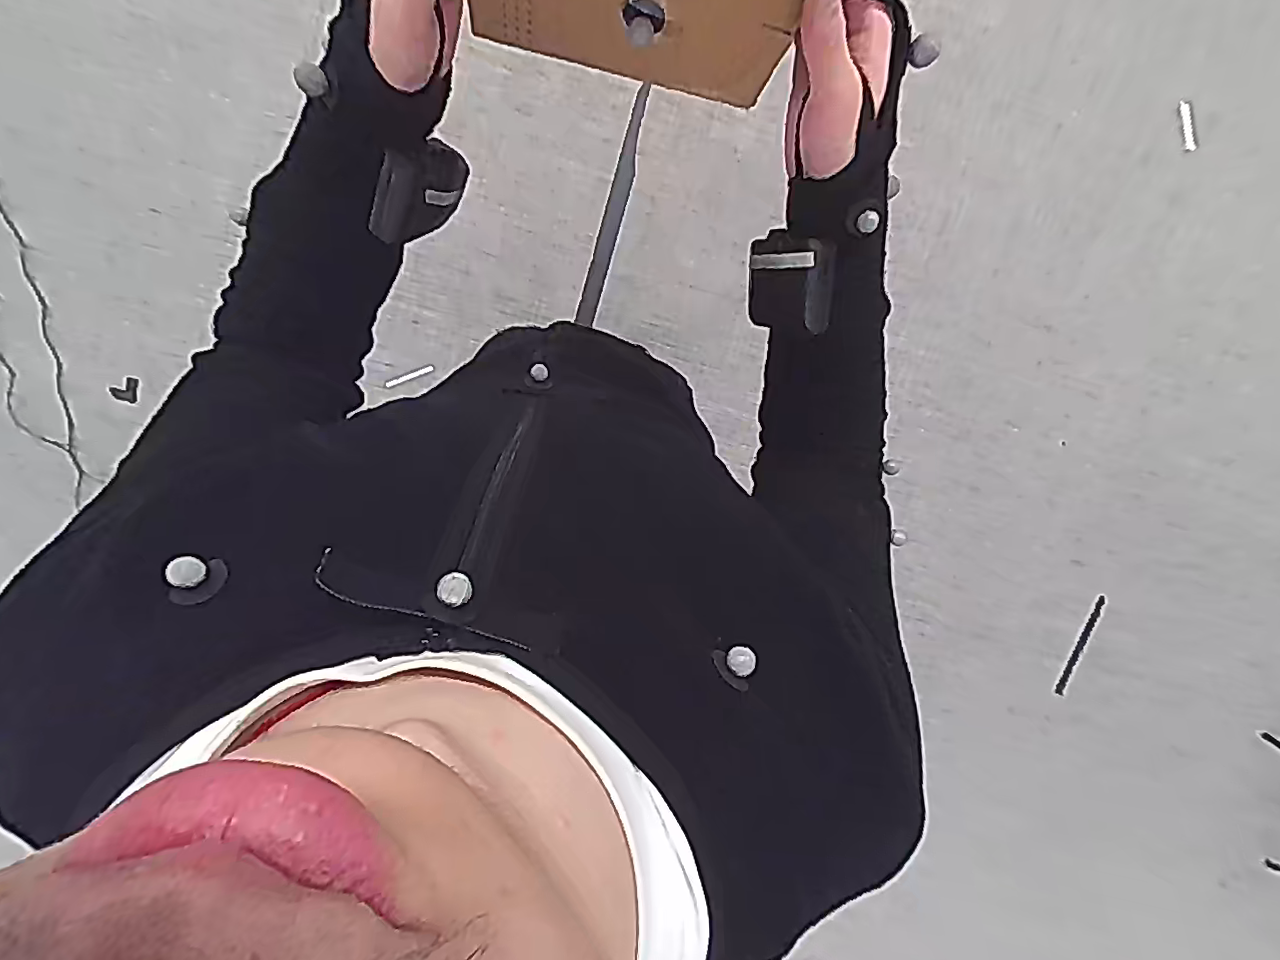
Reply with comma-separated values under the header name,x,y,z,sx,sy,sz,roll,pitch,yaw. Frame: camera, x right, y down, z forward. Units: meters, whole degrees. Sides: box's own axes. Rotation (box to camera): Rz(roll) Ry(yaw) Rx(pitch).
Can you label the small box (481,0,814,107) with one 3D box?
name,x,y,z,sx,sy,sz,roll,pitch,yaw
small box,0.015,-0.323,0.242,0.176,0.168,0.179,6,89,-13
